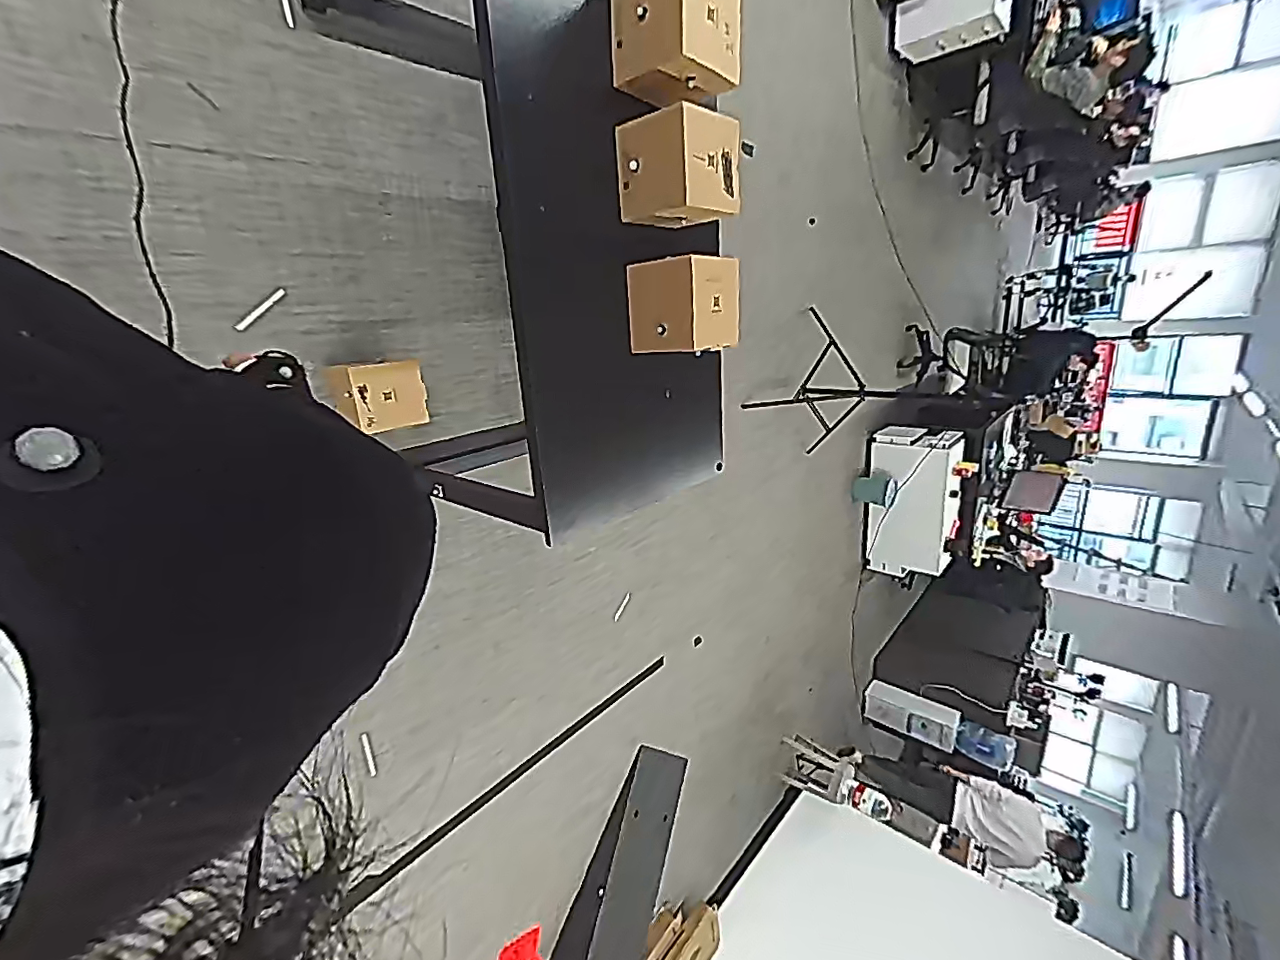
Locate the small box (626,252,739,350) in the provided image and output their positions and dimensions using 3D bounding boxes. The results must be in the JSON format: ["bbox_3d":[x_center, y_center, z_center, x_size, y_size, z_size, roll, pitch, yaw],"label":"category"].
[{"bbox_3d":[0.089,-0.363,1.117,0.168,0.176,0.179,-21,113,-45],"label":"small box"}]

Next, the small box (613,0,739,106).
[{"bbox_3d":[0.063,-0.816,0.985,0.179,0.176,0.168,-17,111,-45],"label":"small box"}]

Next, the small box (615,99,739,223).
[{"bbox_3d":[0.074,-0.600,1.044,0.179,0.176,0.168,-21,114,-43],"label":"small box"}]

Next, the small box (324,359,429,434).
[{"bbox_3d":[-0.677,-0.221,1.392,0.179,0.176,0.168,-22,113,-44],"label":"small box"}]
